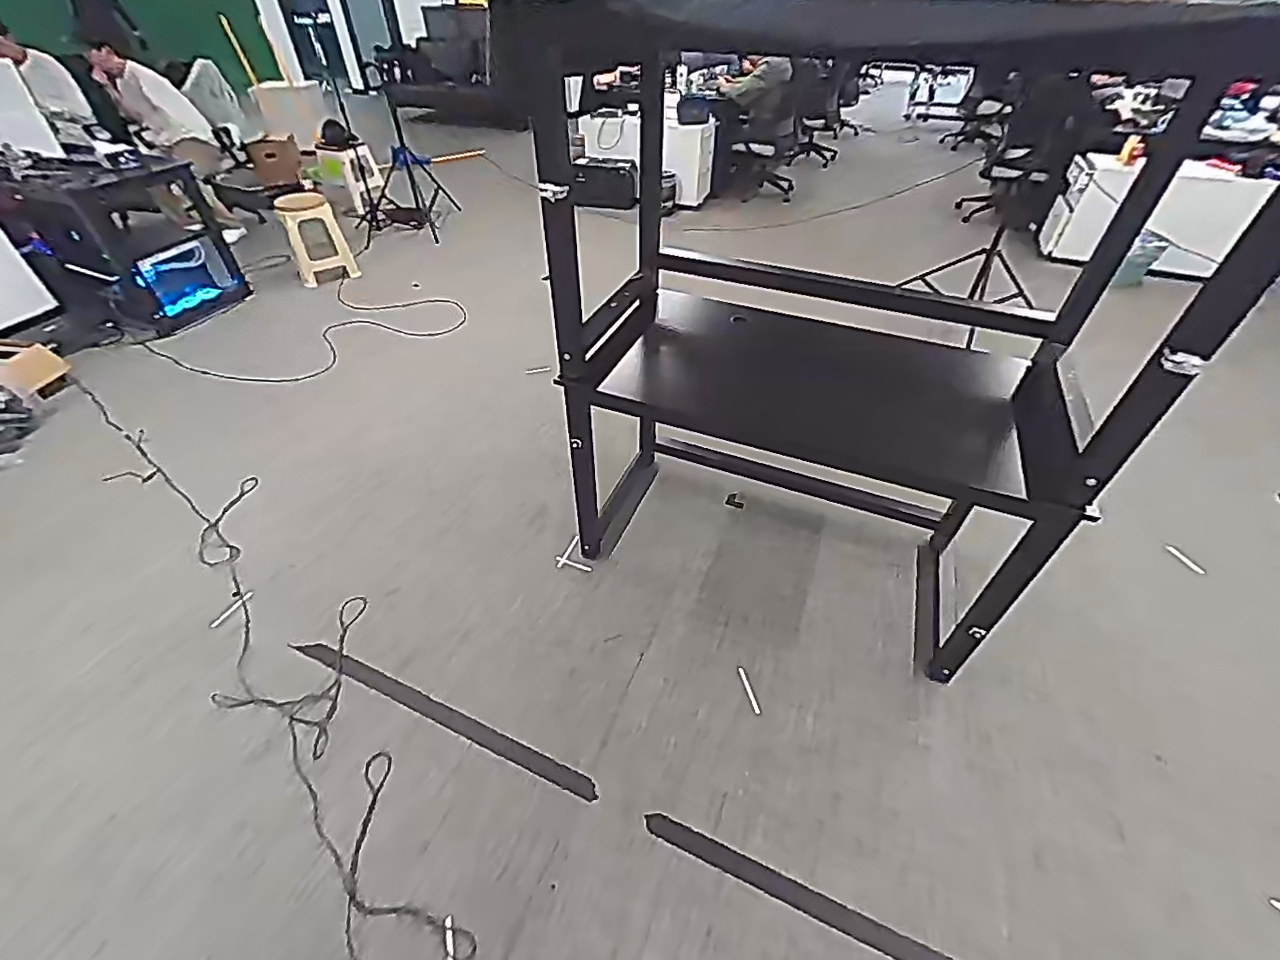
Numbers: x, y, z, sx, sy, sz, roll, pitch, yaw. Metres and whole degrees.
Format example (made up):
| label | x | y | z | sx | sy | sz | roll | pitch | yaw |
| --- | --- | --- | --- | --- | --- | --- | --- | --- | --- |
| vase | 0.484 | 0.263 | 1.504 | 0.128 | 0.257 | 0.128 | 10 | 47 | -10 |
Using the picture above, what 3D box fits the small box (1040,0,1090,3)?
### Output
| label | x | y | z | sx | sy | sz | roll | pitch | yaw |
| --- | --- | --- | --- | --- | --- | --- | --- | --- | --- |
| small box | 0.619 | -0.712 | 0.675 | 0.168 | 0.176 | 0.179 | 20 | 45 | 19 |
